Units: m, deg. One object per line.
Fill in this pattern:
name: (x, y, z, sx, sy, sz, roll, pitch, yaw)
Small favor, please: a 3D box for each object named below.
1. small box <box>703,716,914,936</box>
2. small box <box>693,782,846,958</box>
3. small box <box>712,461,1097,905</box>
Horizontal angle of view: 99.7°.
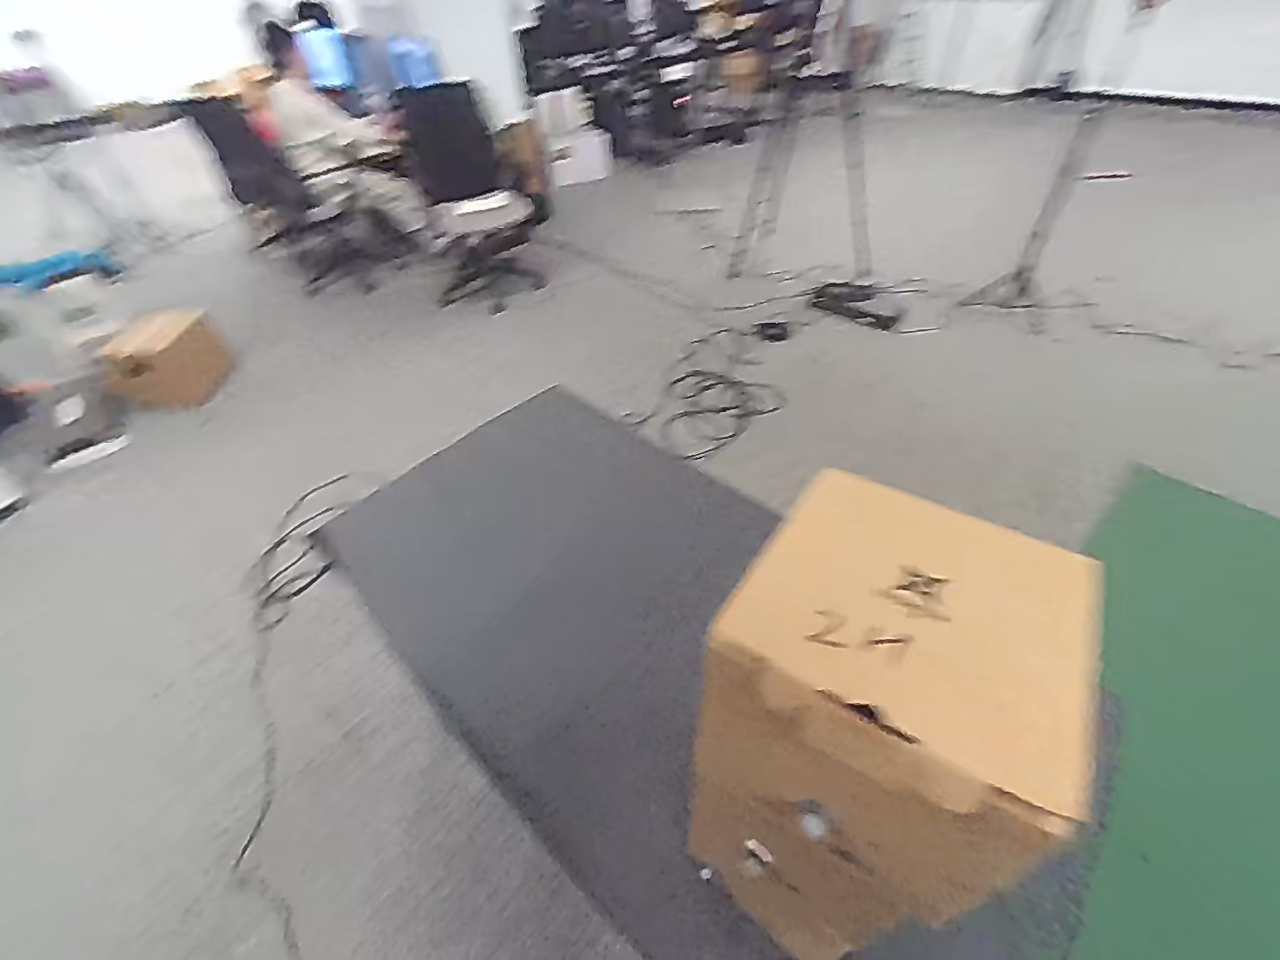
small box: (0.164, 0.240, 0.471, 0.168, 0.176, 0.179, 27, 50, 29)
small box: (0.173, 0.358, 0.583, 0.168, 0.176, 0.179, 30, 50, 31)
small box: (0.156, 0.122, 0.355, 0.168, 0.176, 0.179, 23, 48, 28)
